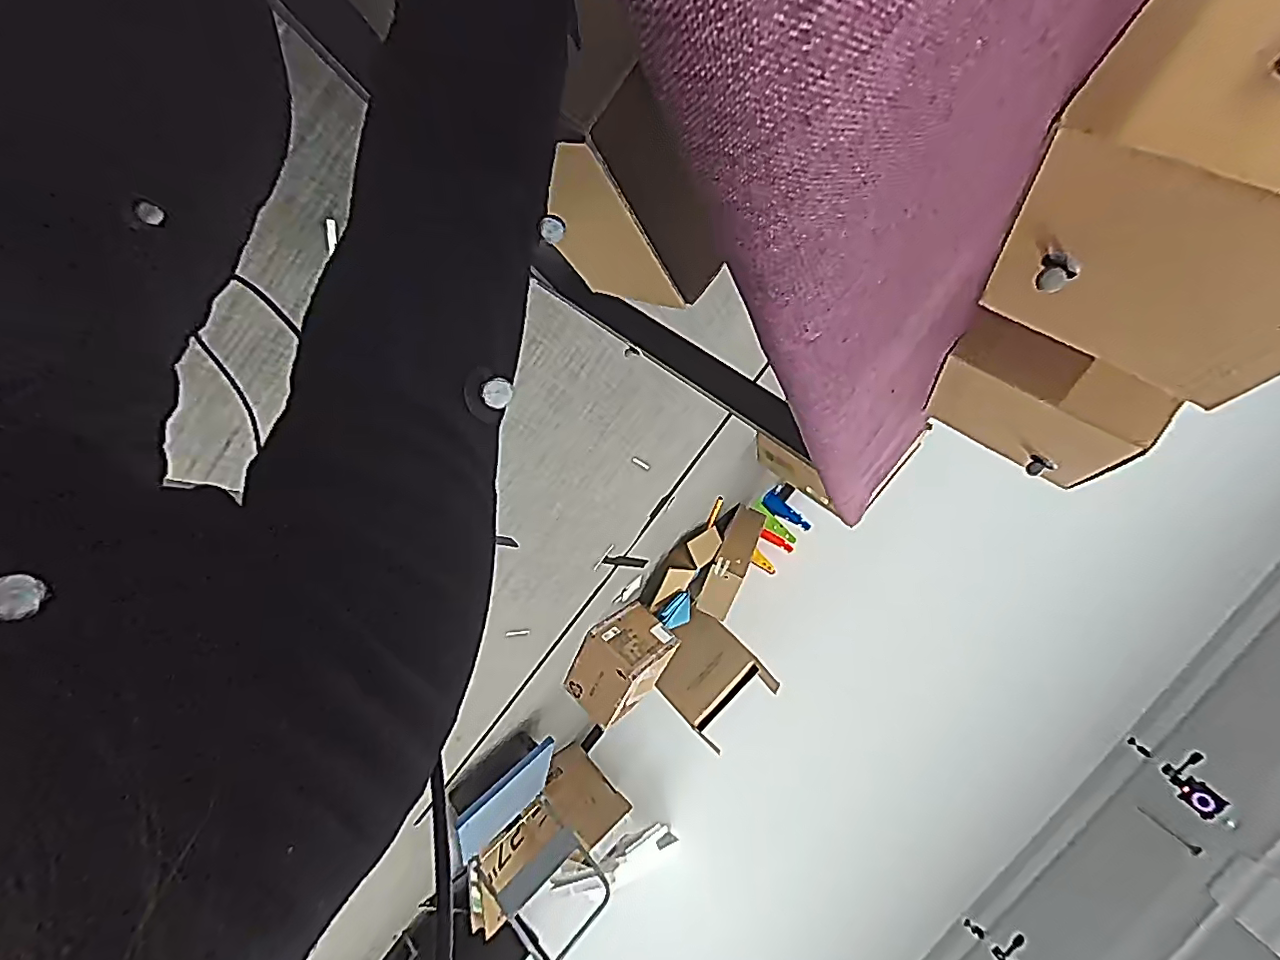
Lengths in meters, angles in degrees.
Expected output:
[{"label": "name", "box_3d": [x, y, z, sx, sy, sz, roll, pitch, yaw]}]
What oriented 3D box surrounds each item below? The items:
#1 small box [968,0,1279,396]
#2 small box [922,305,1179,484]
[{"label": "small box", "box_3d": [0.340, -0.178, 0.317, 0.168, 0.176, 0.179, -53, 157, 2]}, {"label": "small box", "box_3d": [0.415, -0.121, 0.544, 0.168, 0.176, 0.179, -54, 157, 2]}]
